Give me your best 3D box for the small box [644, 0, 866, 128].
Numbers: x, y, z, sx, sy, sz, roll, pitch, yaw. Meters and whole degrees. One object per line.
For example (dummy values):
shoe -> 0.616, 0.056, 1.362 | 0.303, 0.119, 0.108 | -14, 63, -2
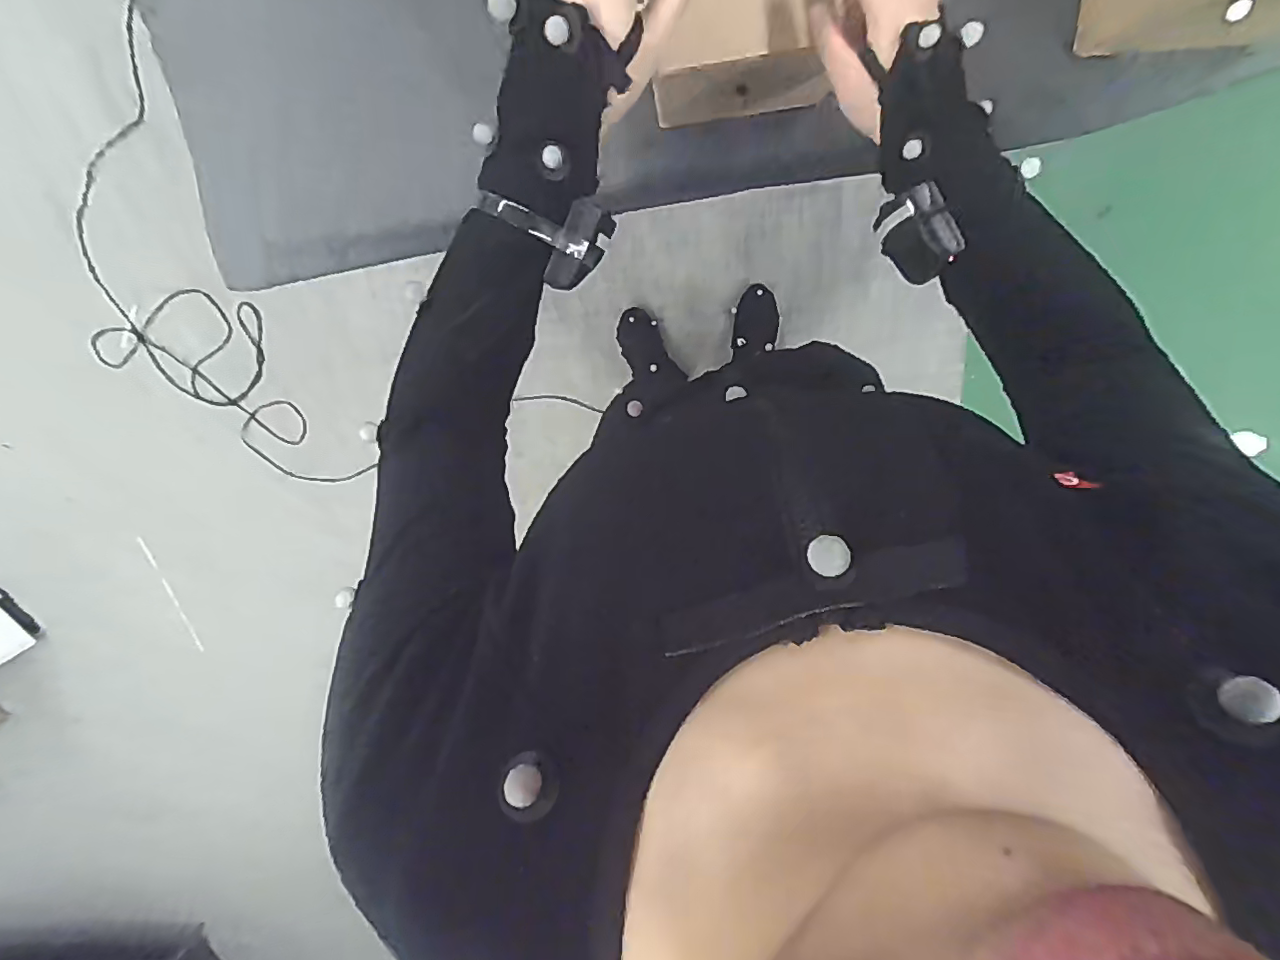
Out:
small box -> 0.093, -0.443, 0.490 | 0.179, 0.176, 0.168 | -4, 110, 8

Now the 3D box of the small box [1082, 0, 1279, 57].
small box -> 0.514, -0.476, 0.438 | 0.179, 0.176, 0.168 | 0, 108, 6
